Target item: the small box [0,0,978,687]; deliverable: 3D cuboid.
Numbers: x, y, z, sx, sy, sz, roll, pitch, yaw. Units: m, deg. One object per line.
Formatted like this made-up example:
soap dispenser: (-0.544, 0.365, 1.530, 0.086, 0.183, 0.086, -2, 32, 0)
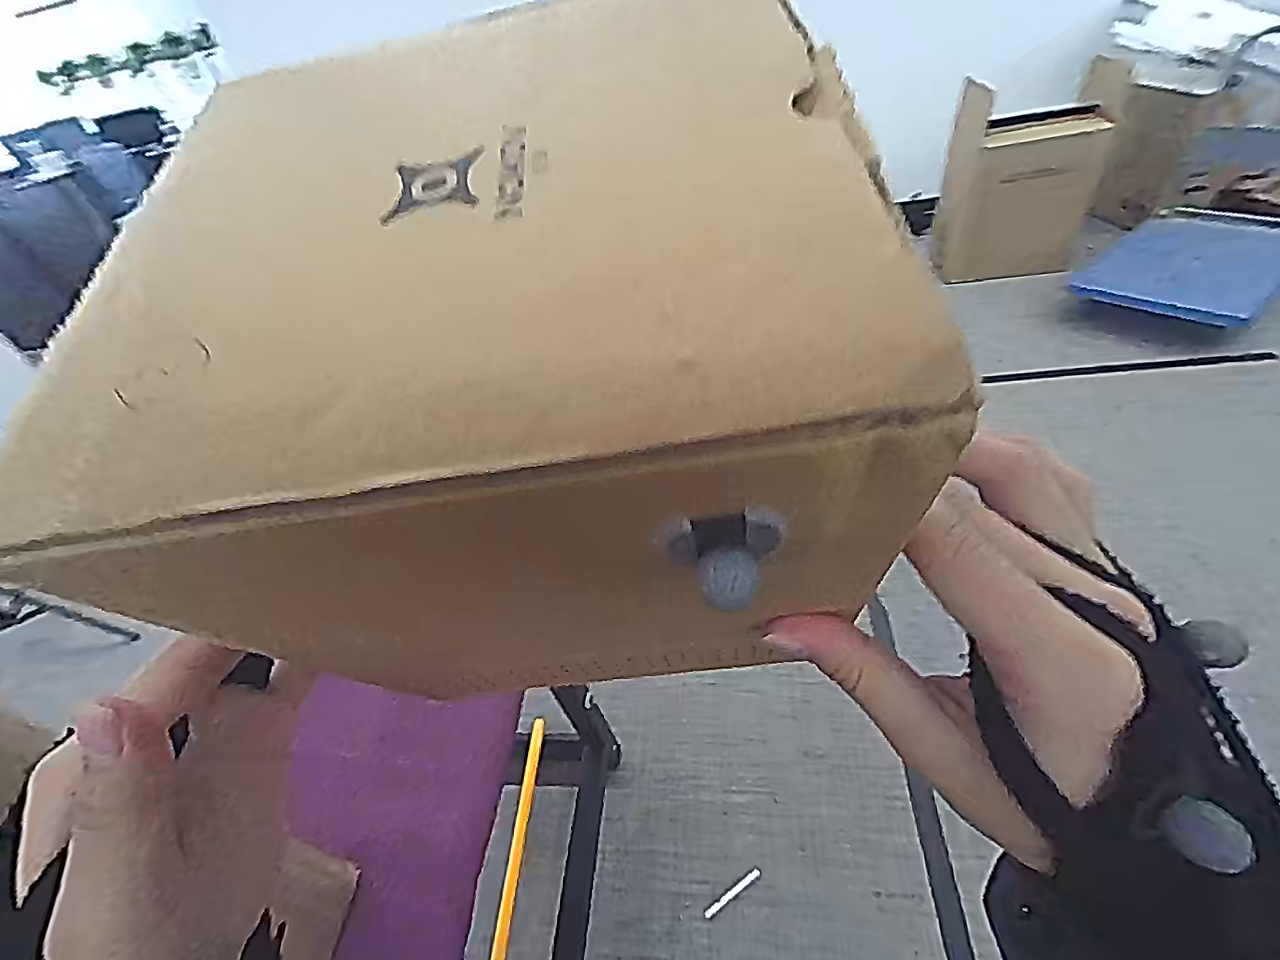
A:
small box: (-0.025, -0.029, 0.198, 0.179, 0.176, 0.168, -8, 59, 6)
